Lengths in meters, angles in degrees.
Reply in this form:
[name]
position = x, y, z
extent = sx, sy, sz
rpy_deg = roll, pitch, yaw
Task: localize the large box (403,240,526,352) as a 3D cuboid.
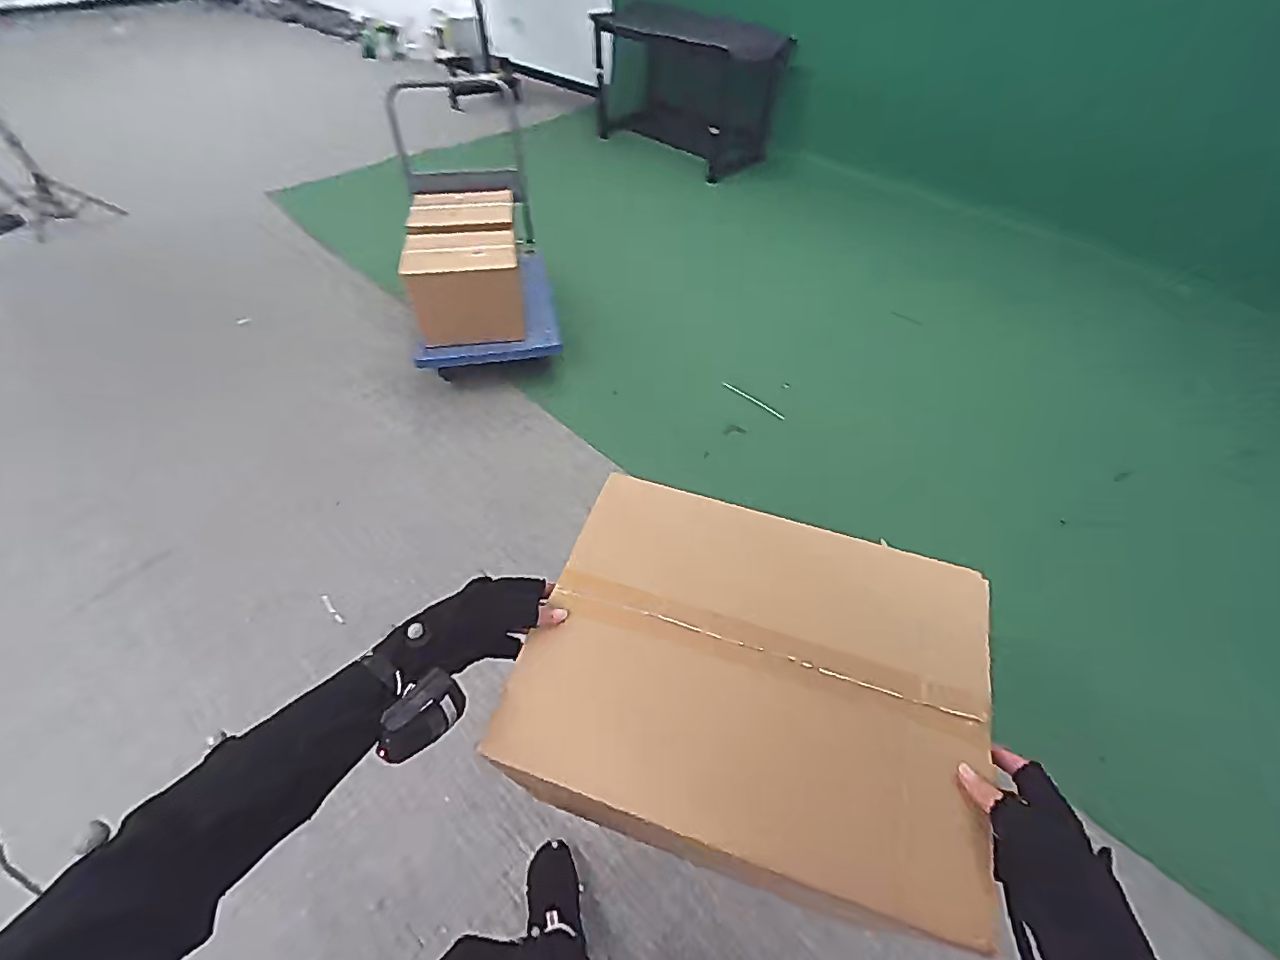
[large box]
position = -0.673, -0.726, 2.132
extent = 0.408, 0.320, 0.320
rpy_deg = -6, 47, -8
